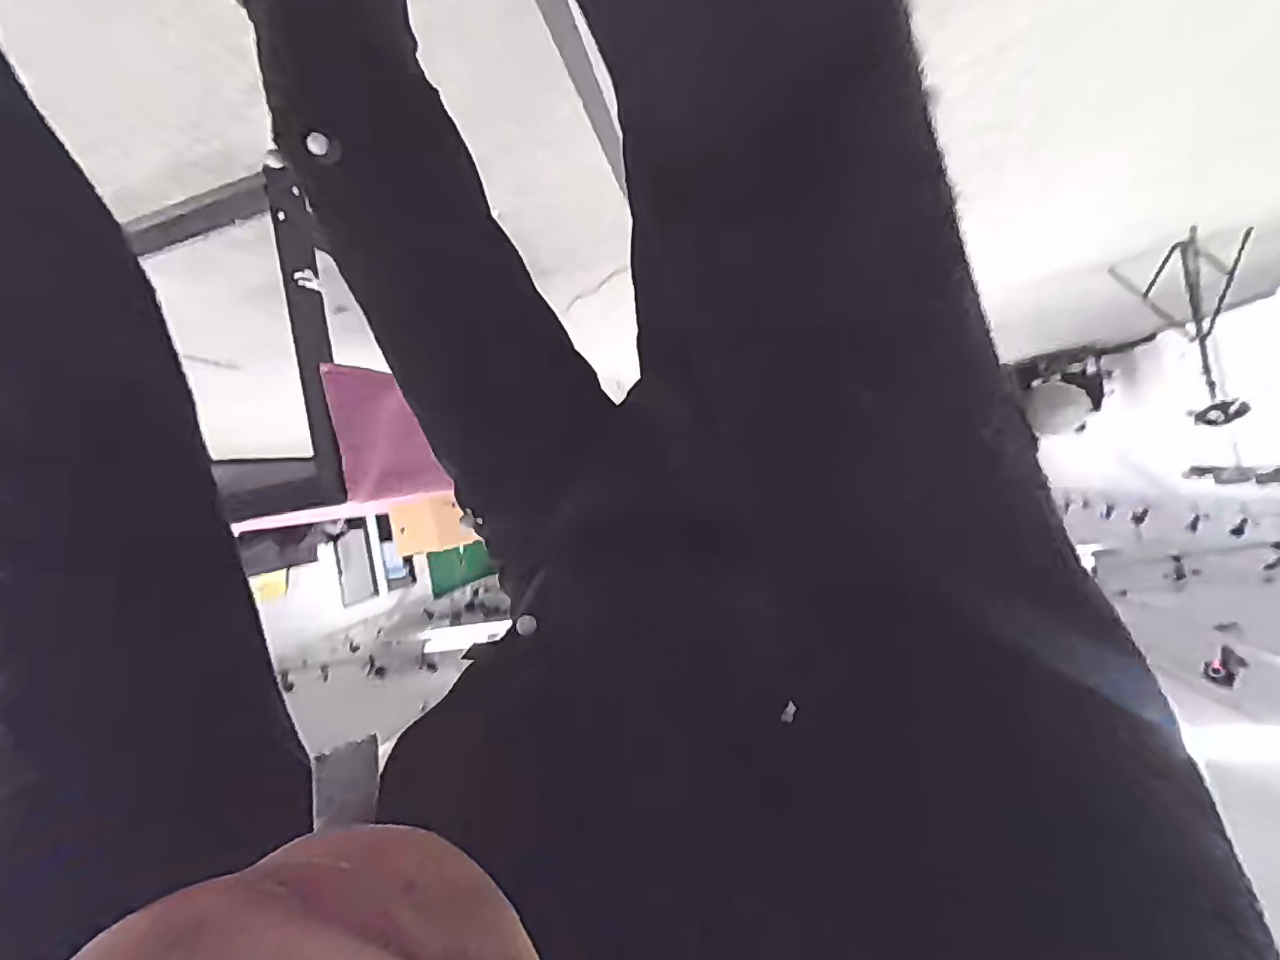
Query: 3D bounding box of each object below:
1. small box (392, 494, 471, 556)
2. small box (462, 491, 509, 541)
[{"bbox_3d":[-0.681,0.142,1.761,0.179,0.176,0.168,-11,180,22],"label":"small box"},{"bbox_3d":[-0.619,0.135,2.006,0.179,0.176,0.168,-11,179,21],"label":"small box"}]
